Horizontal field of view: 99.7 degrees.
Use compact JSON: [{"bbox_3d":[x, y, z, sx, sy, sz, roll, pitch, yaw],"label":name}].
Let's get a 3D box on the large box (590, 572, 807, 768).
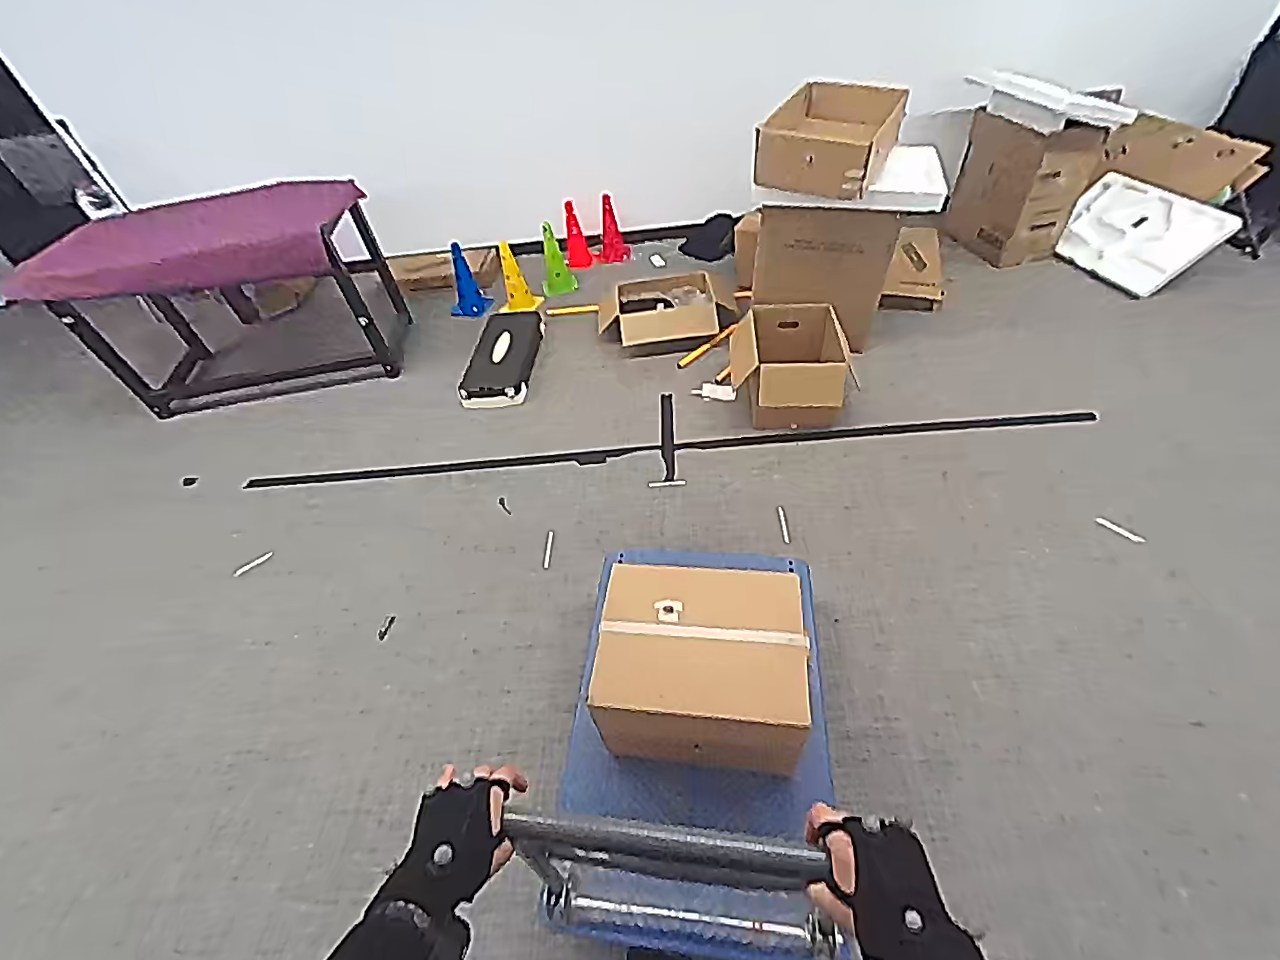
[{"bbox_3d":[0.136,0.419,1.198,0.408,0.320,0.320,0,46,10],"label":"large box"}]
